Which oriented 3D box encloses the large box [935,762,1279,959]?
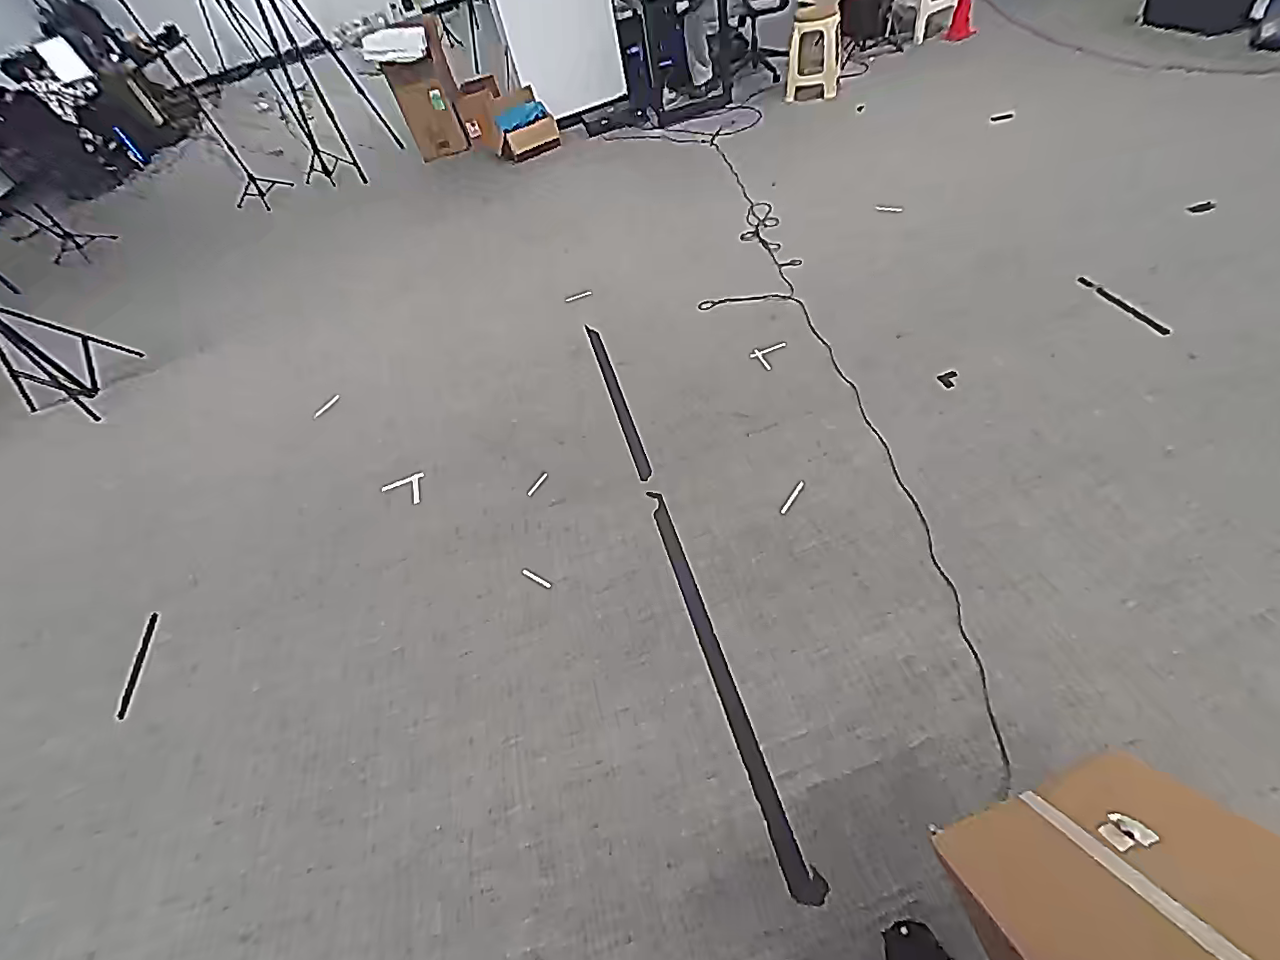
[{"bbox_3d":[0.636,0.606,0.602,0.320,0.408,0.320,-24,85,1],"label":"large box"}]
